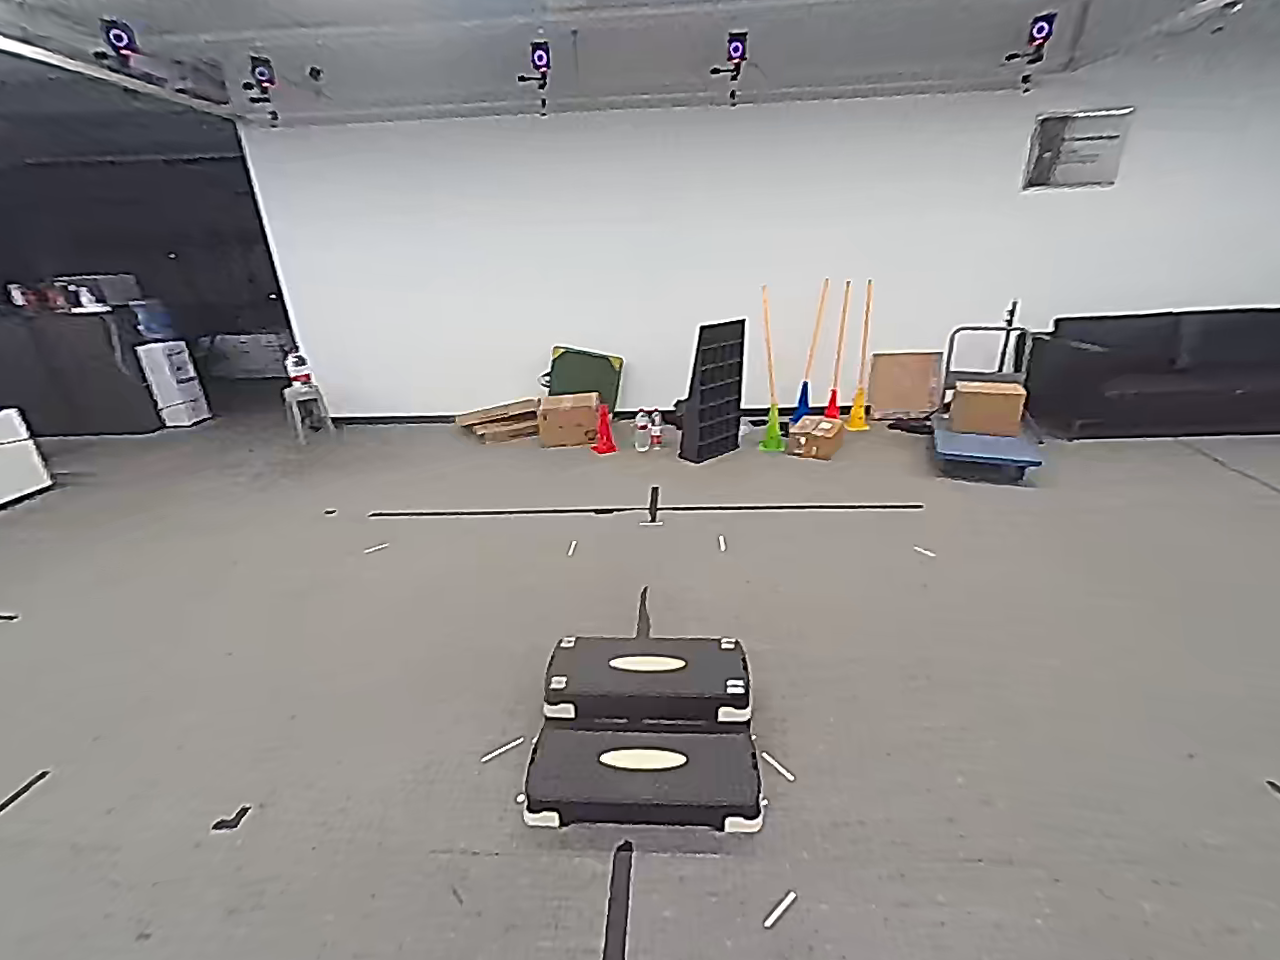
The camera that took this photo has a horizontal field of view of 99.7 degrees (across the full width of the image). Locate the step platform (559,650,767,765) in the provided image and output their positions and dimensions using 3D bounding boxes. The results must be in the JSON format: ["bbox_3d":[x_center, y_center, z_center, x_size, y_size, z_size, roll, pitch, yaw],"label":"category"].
[{"bbox_3d":[0.078,0.748,1.817,0.684,0.204,0.286,1,22,8],"label":"step platform"}]
